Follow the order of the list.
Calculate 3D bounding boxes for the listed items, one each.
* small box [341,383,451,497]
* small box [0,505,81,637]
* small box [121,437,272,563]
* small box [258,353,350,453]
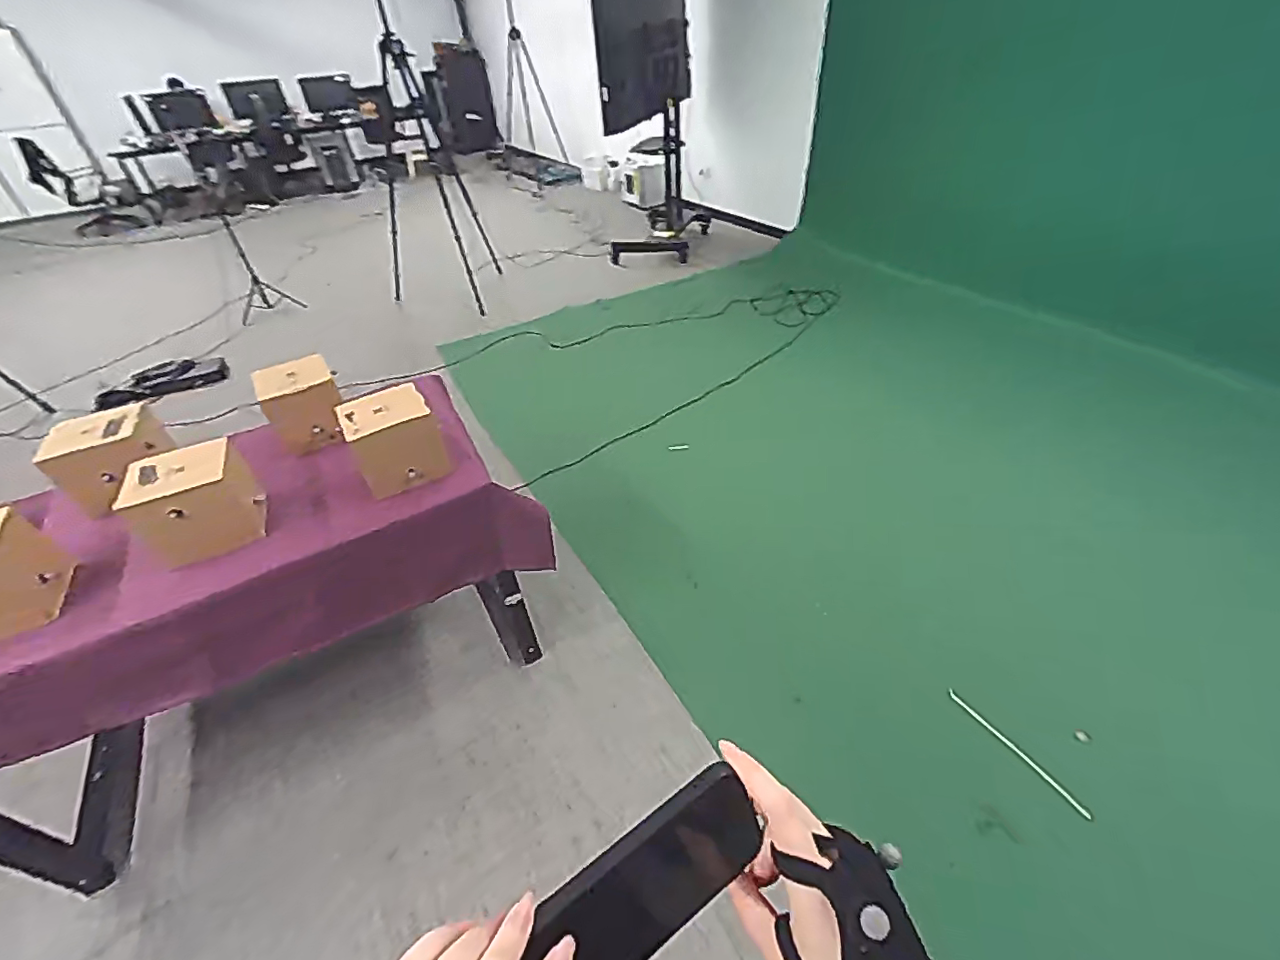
[{"bbox_3d":[-0.548,-0.091,1.232,0.179,0.176,0.168,-24,43,-21],"label":"small box"},{"bbox_3d":[-1.190,0.181,0.976,0.179,0.176,0.168,-21,43,-20],"label":"small box"},{"bbox_3d":[-0.894,0.042,1.110,0.179,0.176,0.168,-20,43,-19],"label":"small box"},{"bbox_3d":[-0.841,-0.196,1.382,0.168,0.176,0.179,-26,45,-22],"label":"small box"}]
